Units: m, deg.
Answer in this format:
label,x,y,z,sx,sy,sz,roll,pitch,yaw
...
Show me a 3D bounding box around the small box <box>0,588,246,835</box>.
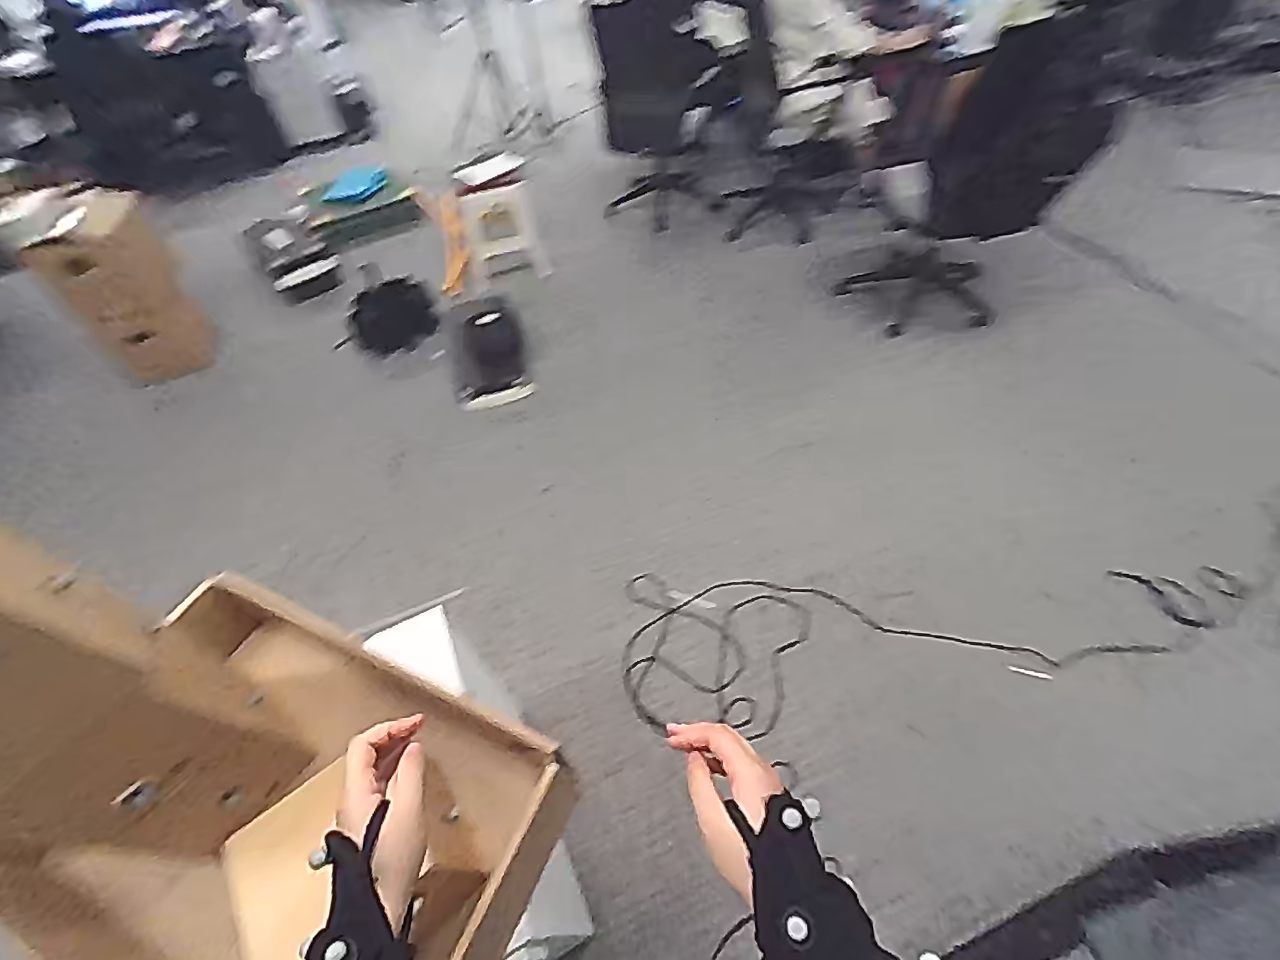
label,x,y,z,sx,sy,sz,roll,pitch,yaw
small box,-0.589,0.253,0.589,0.179,0.176,0.168,33,63,26
